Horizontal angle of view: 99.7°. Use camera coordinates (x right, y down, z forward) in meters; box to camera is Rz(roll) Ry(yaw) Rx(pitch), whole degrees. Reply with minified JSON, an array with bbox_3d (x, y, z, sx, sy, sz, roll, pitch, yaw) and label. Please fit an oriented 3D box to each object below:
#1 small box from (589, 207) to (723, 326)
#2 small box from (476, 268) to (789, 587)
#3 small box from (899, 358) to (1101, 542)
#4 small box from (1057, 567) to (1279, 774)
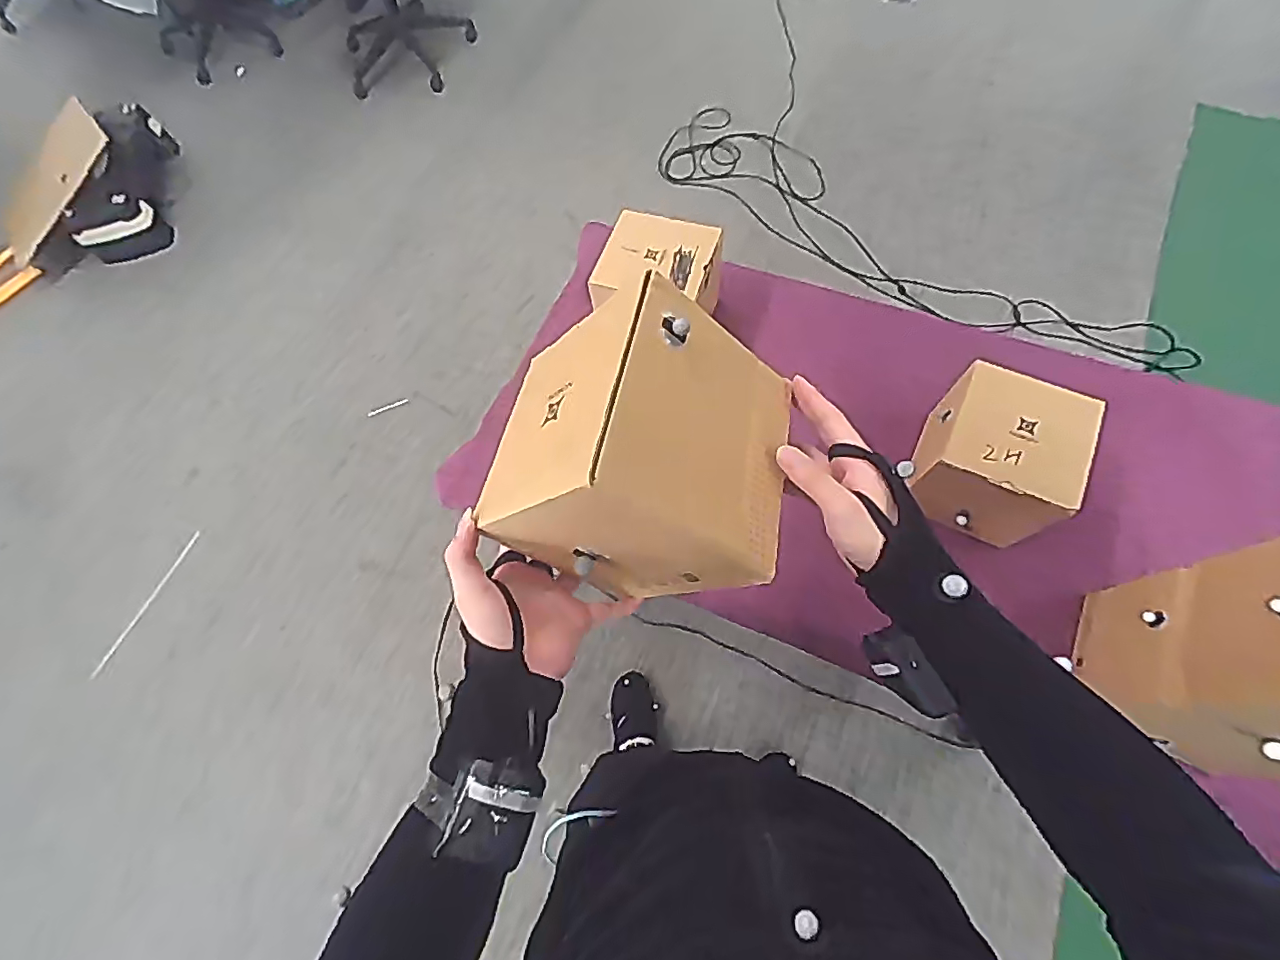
[{"bbox_3d":[0.033,-0.330,0.934,0.179,0.176,0.168,17,71,12],"label":"small box"},{"bbox_3d":[0.001,-0.021,0.436,0.176,0.168,0.179,31,58,-30],"label":"small box"},{"bbox_3d":[0.503,-0.037,0.780,0.168,0.176,0.179,25,72,14],"label":"small box"},{"bbox_3d":[0.667,0.231,0.657,0.179,0.176,0.168,25,71,14],"label":"small box"}]
